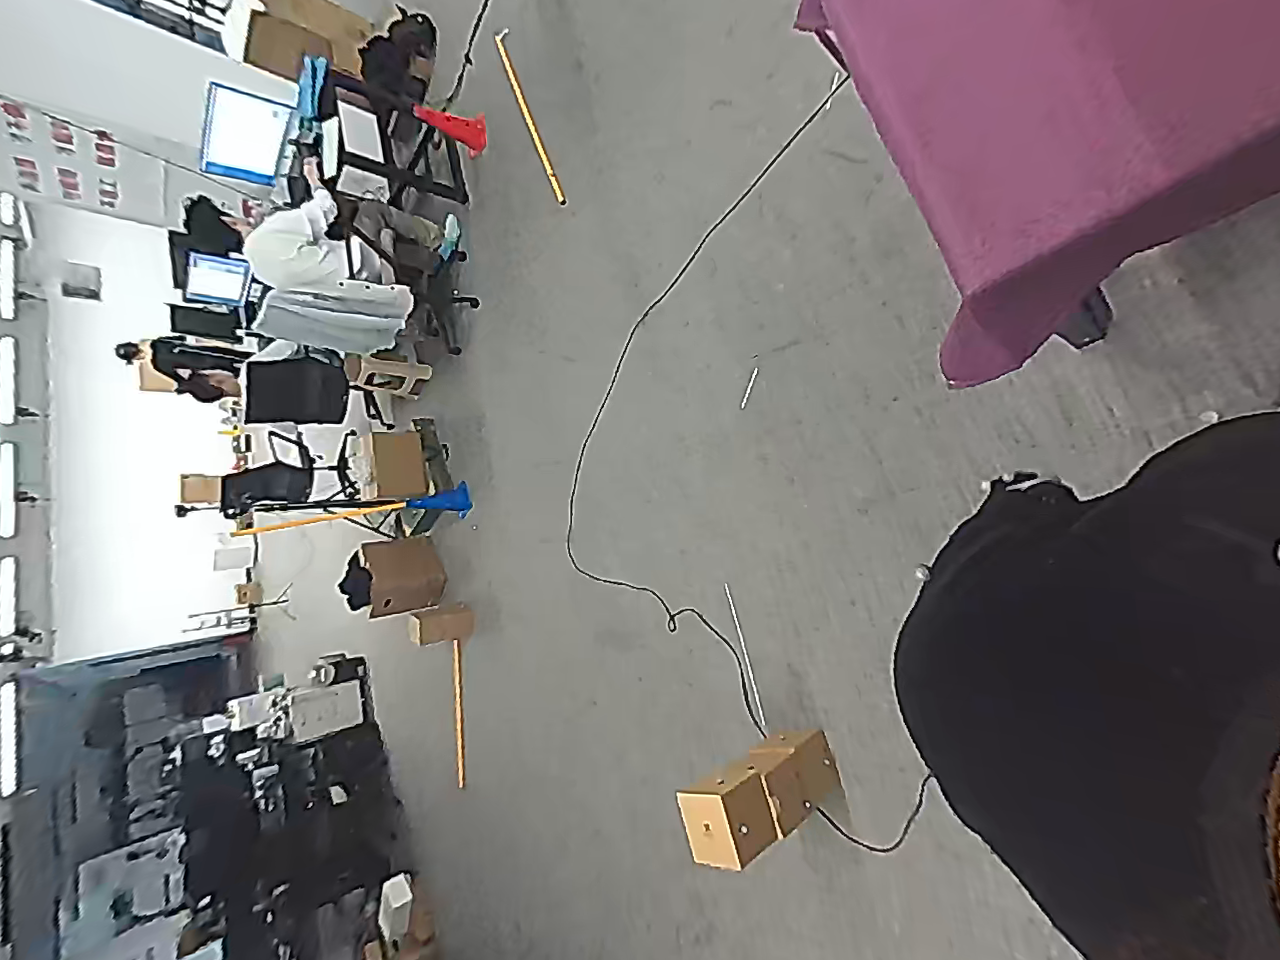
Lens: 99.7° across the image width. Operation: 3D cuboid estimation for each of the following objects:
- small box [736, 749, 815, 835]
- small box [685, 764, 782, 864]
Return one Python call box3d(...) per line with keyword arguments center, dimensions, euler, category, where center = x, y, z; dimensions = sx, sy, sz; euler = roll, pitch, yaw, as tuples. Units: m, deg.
box3d(center=(0.381, 0.893, 1.562), dimensions=(0.179, 0.176, 0.168), euler=(-30, 70, 45), category="small box")
box3d(center=(0.253, 0.889, 1.460), dimensions=(0.168, 0.176, 0.179), euler=(-29, 72, 44), category="small box")
